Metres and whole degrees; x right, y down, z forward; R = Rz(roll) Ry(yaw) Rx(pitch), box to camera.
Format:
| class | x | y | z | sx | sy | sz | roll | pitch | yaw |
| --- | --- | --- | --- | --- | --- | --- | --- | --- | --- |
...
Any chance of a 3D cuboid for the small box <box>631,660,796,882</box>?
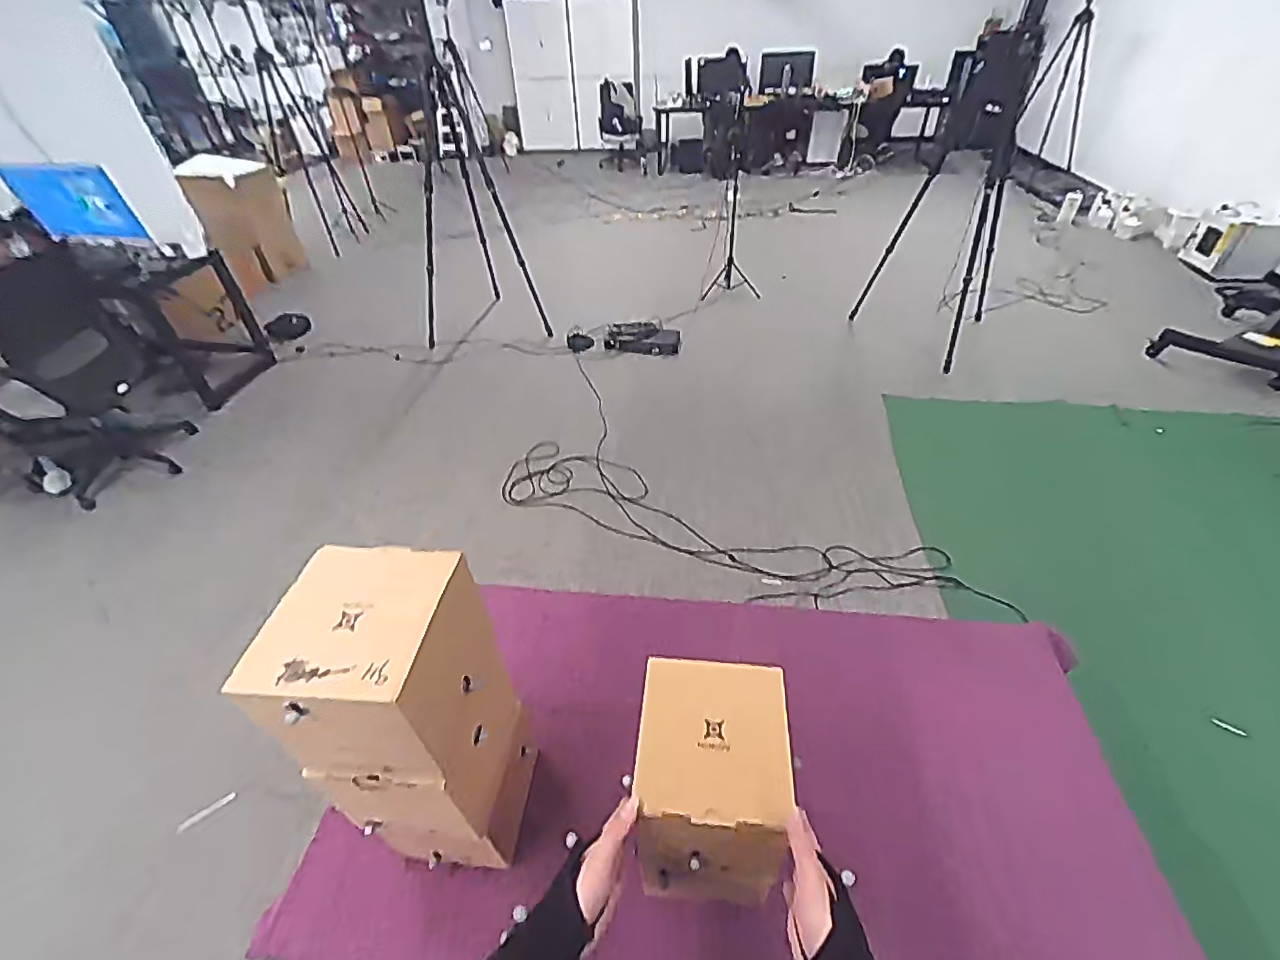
| class | x | y | z | sx | sy | sz | roll | pitch | yaw |
| --- | --- | --- | --- | --- | --- | --- | --- | --- | --- |
| small box | 0.082 | 0.342 | 0.644 | 0.168 | 0.176 | 0.179 | 2 | 41 | 6 |

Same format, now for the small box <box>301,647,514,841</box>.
| class | x | y | z | sx | sy | sz | roll | pitch | yaw |
| --- | --- | --- | --- | --- | --- | --- | --- | --- | --- |
| small box | -0.272 | 0.328 | 0.684 | 0.168 | 0.176 | 0.179 | 1 | 39 | 6 |

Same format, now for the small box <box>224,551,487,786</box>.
| class | x | y | z | sx | sy | sz | roll | pitch | yaw |
| --- | --- | --- | --- | --- | --- | --- | --- | --- | --- |
| small box | -0.279 | 0.199 | 0.584 | 0.168 | 0.176 | 0.179 | 1 | 40 | 6 |

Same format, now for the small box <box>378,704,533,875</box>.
| class | x | y | z | sx | sy | sz | roll | pitch | yaw |
| --- | --- | --- | --- | --- | --- | --- | --- | --- | --- |
| small box | -0.264 | 0.447 | 0.797 | 0.168 | 0.176 | 0.179 | 1 | 41 | 6 |
